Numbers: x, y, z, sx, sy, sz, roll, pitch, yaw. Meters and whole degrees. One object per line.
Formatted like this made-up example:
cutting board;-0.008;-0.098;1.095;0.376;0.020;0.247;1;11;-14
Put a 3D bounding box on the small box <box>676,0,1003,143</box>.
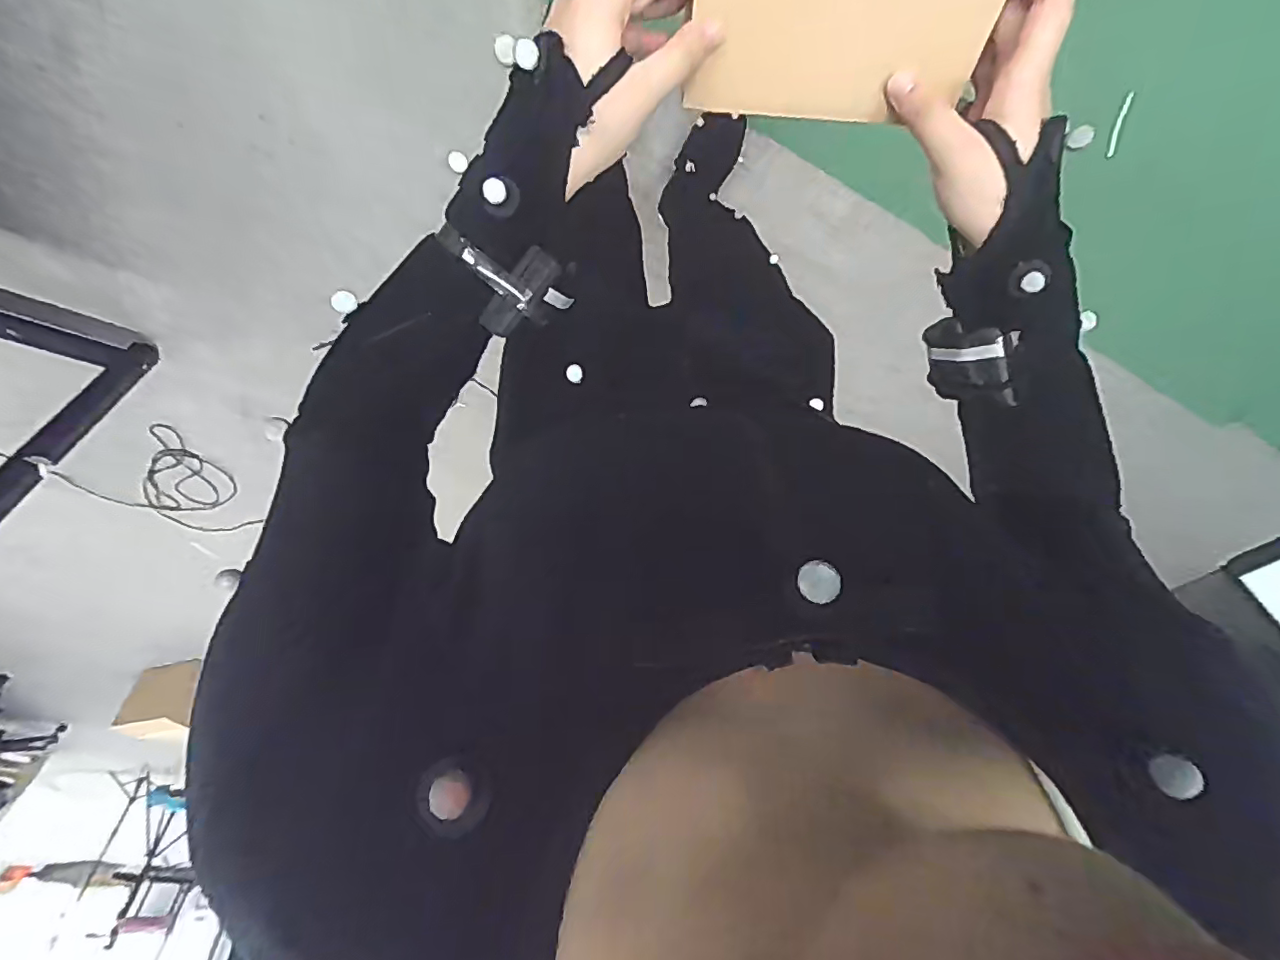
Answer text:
small box;0.112;-0.330;0.310;0.168;0.176;0.179;3;145;0
